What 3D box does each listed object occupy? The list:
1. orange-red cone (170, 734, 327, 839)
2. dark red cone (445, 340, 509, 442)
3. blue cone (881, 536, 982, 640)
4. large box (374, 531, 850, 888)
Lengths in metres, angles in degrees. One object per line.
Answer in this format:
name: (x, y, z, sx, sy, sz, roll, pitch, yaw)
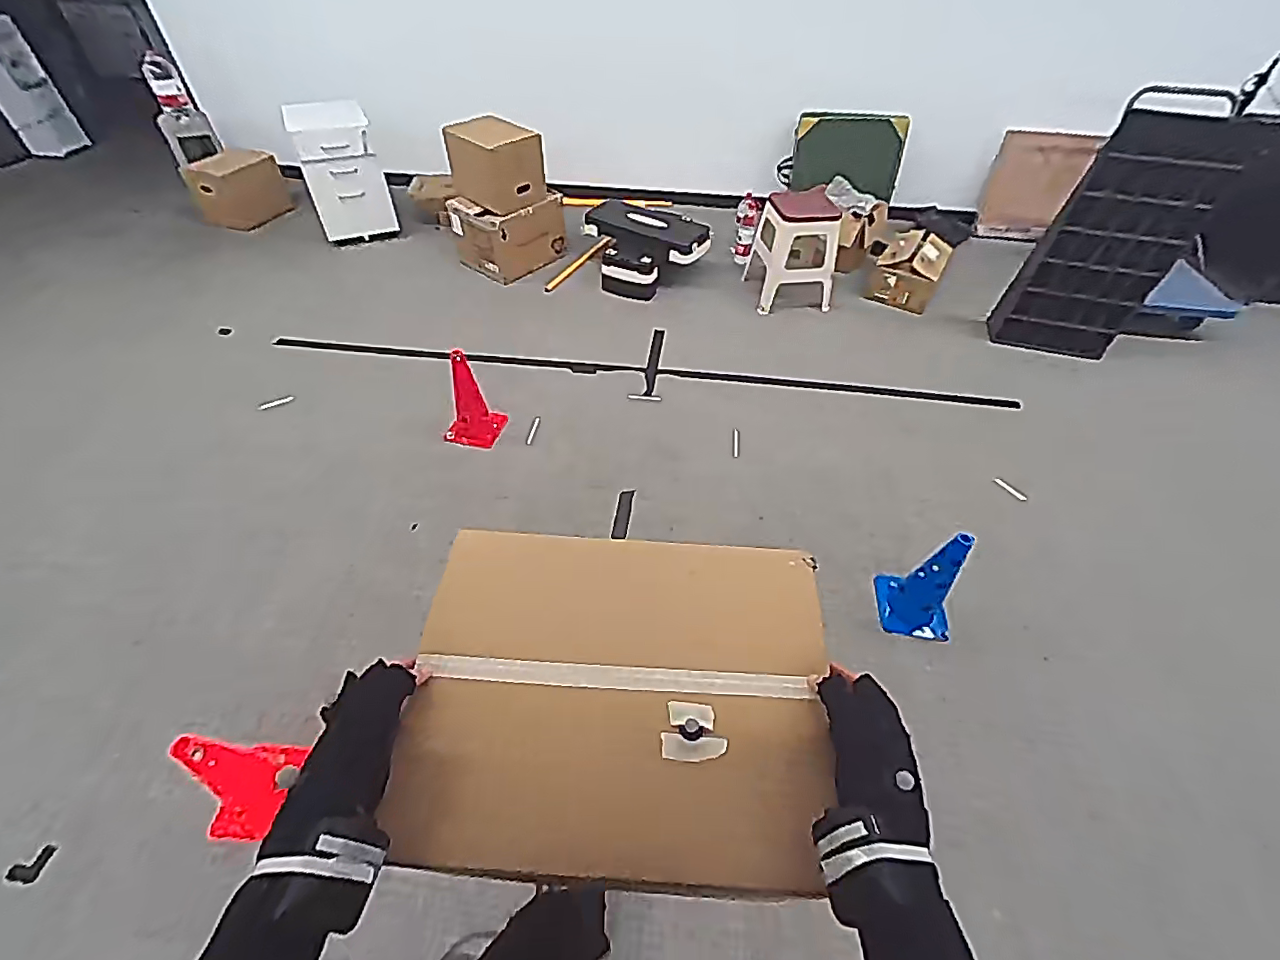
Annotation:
orange-red cone: (-0.870, 0.618, 1.154, 0.198, 0.360, 0.199, 4, 49, 3)
dark red cone: (-0.631, -0.339, 2.003, 0.201, 0.394, 0.202, 11, 48, 7)
blue cone: (0.847, 0.282, 1.533, 0.192, 0.380, 0.193, 9, 48, 5)
large box: (-0.022, 0.282, 0.651, 0.408, 0.320, 0.320, 4, 52, 1)
